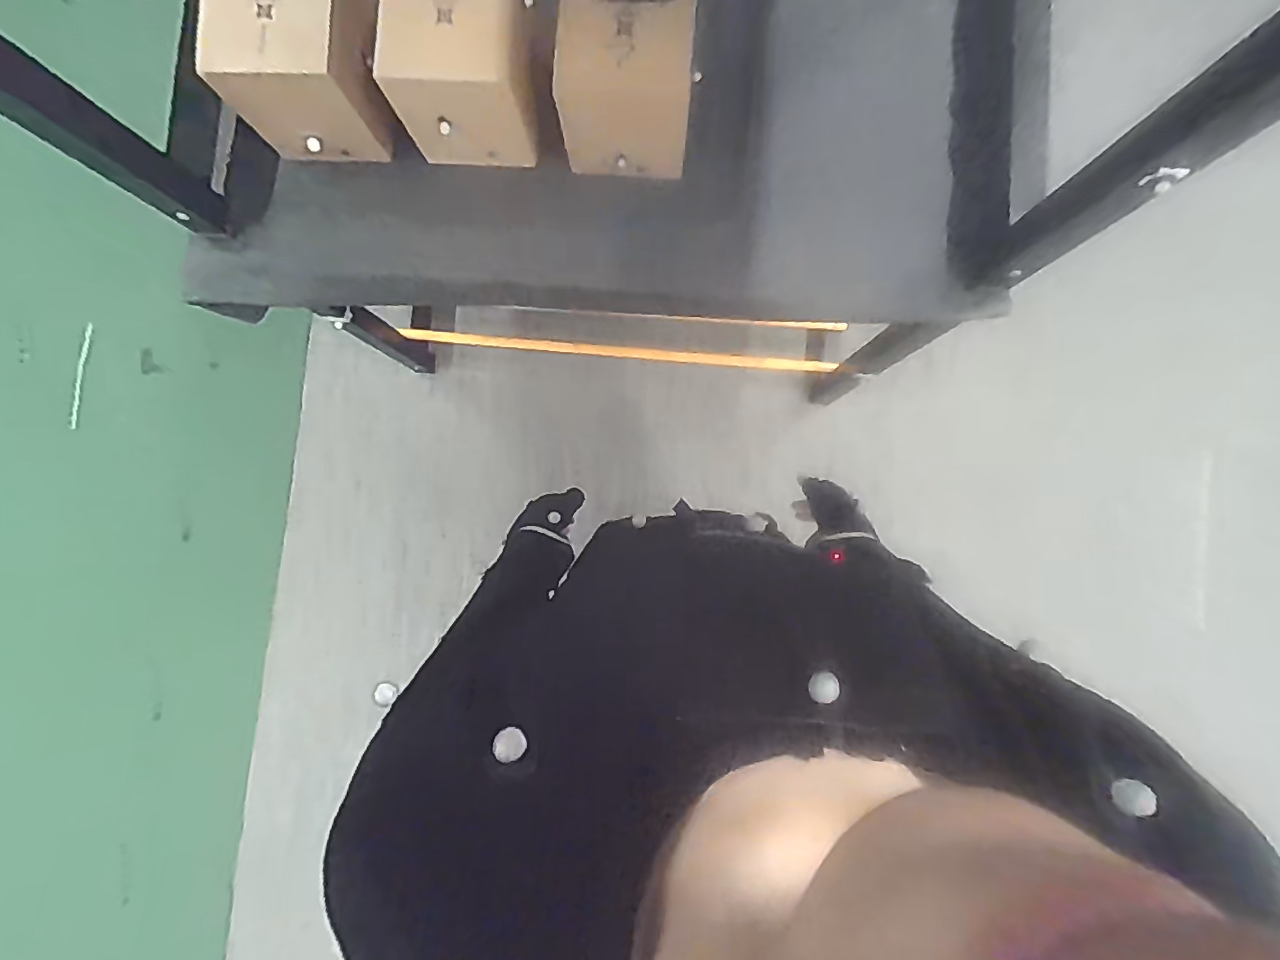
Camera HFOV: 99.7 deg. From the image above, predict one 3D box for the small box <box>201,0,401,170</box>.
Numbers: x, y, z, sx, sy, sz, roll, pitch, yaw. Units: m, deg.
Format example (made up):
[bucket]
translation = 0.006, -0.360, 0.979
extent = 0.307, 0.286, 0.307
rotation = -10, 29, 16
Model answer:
[small box]
translation = -0.449, -0.565, 0.745
extent = 0.168, 0.176, 0.179
rotation = 2, 86, 2
